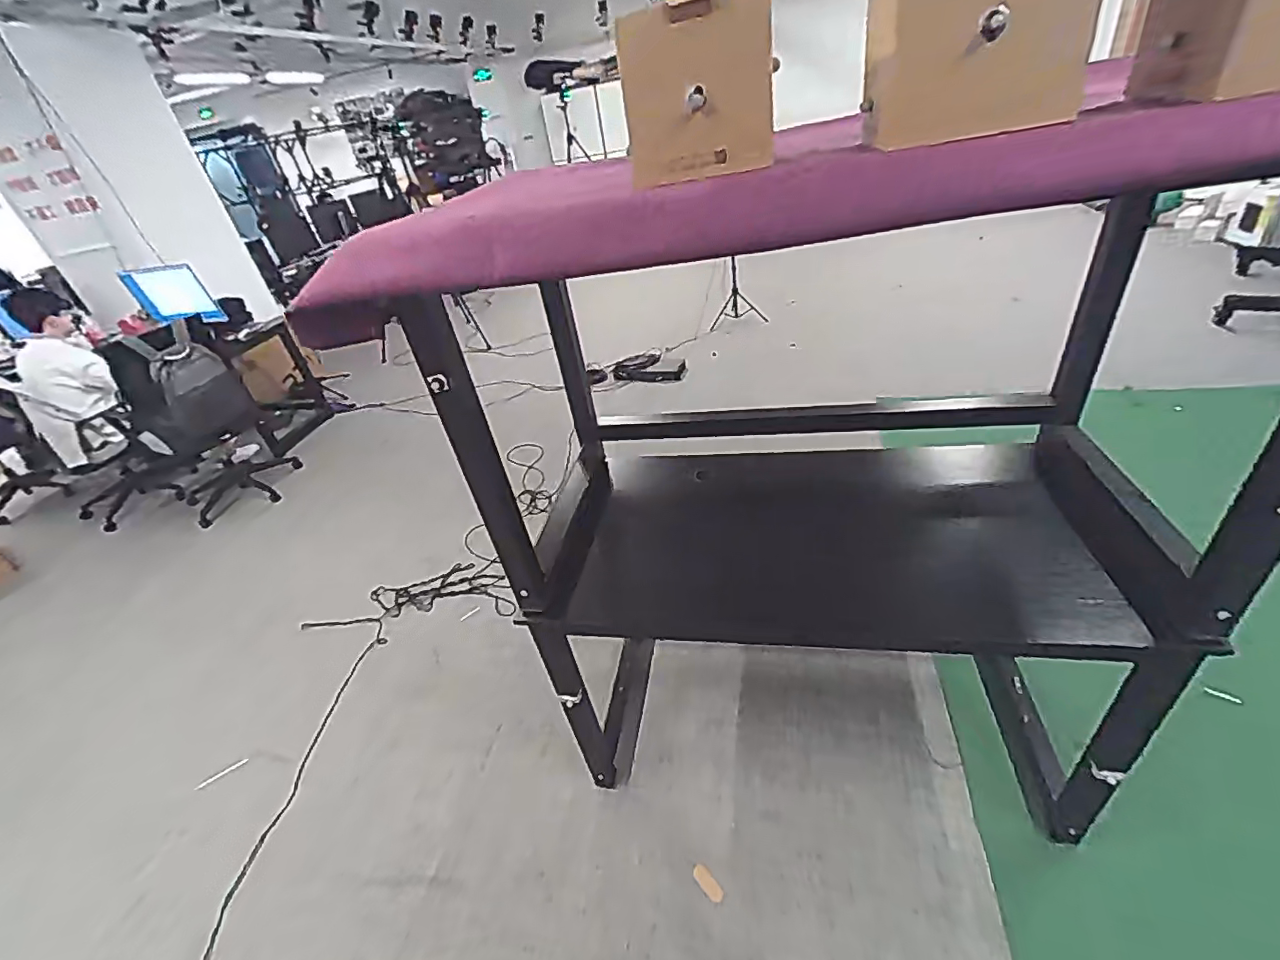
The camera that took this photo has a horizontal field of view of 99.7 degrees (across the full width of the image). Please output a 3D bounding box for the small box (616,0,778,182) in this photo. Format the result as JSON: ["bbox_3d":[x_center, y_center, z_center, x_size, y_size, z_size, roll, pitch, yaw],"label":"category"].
[{"bbox_3d":[0.078,-0.473,0.658,0.168,0.176,0.179,-3,35,11],"label":"small box"}]

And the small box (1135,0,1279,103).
[{"bbox_3d":[0.616,-0.465,0.491,0.179,0.176,0.168,-2,35,16],"label":"small box"}]
